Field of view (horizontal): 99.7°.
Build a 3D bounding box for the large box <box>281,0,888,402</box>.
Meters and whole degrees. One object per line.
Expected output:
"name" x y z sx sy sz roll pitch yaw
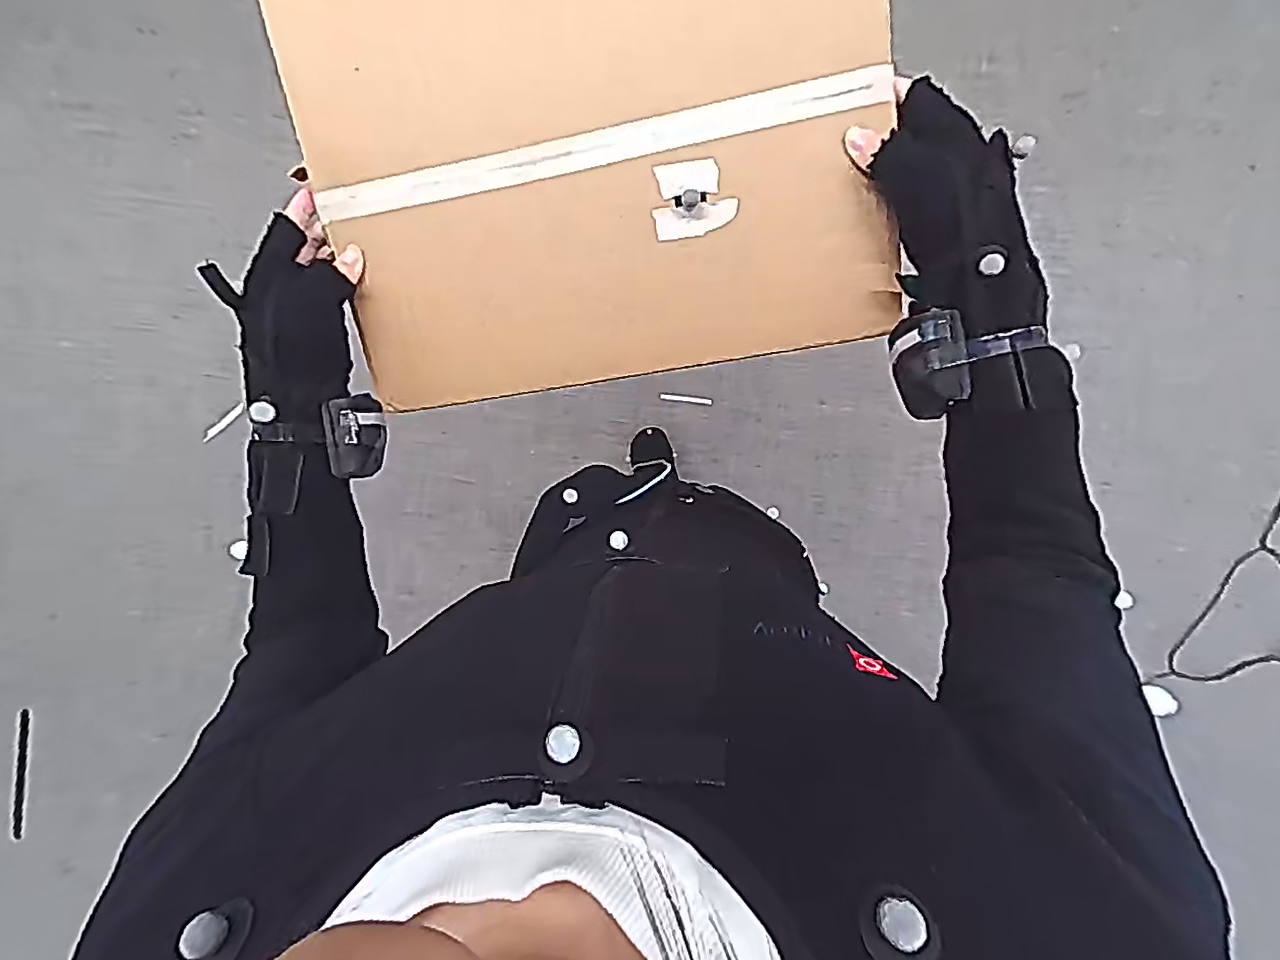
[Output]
"large box" -0.024 -0.280 0.533 0.408 0.320 0.320 -8 106 7
